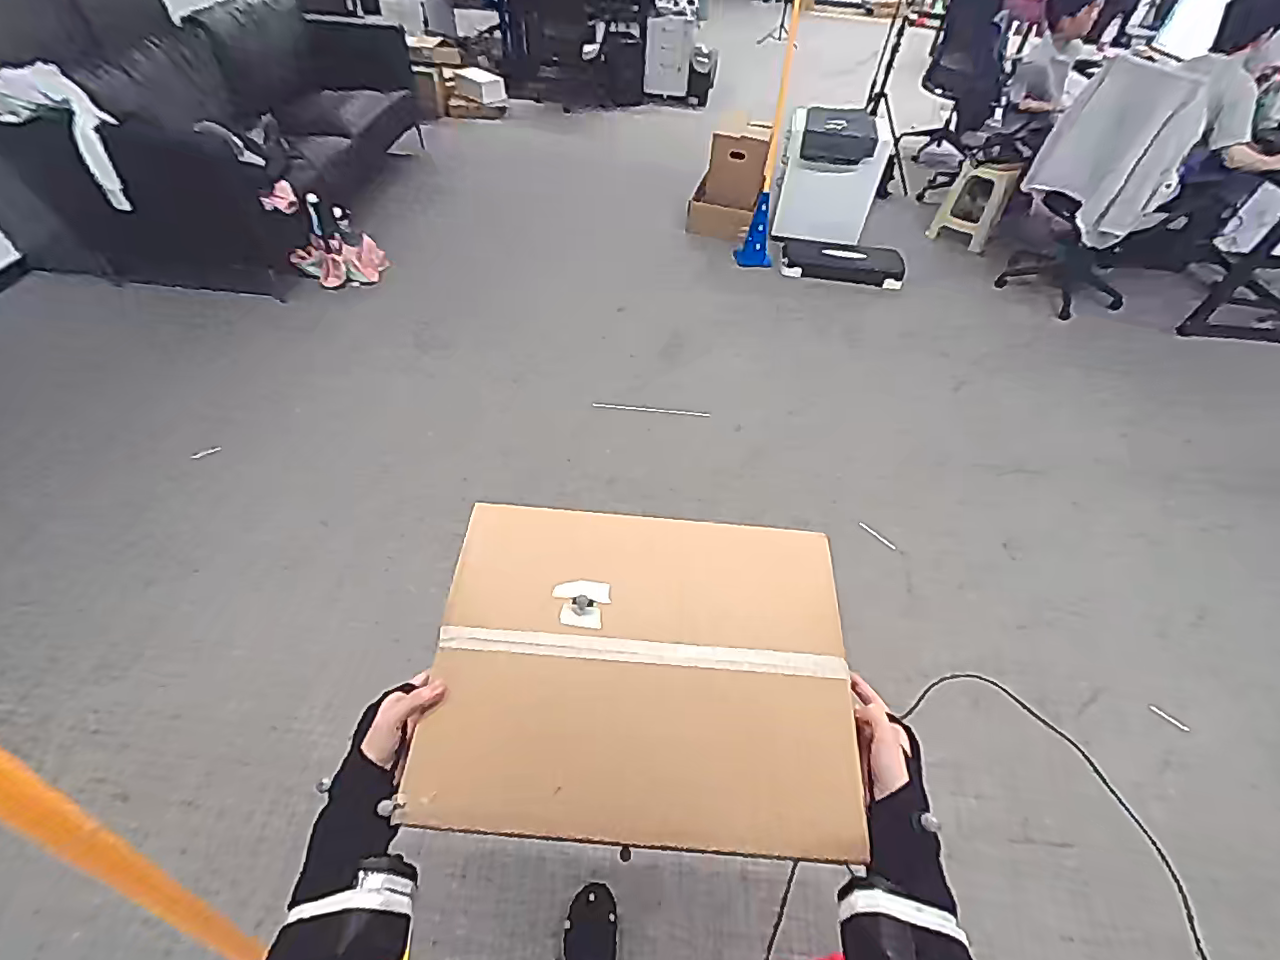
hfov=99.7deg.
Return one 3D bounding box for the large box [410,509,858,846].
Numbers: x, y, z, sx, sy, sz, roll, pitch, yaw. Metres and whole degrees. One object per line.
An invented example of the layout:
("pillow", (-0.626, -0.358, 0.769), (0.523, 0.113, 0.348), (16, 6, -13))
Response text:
("large box", (0.001, 0.254, 0.678), (0.408, 0.320, 0.320), (5, 57, 1))
